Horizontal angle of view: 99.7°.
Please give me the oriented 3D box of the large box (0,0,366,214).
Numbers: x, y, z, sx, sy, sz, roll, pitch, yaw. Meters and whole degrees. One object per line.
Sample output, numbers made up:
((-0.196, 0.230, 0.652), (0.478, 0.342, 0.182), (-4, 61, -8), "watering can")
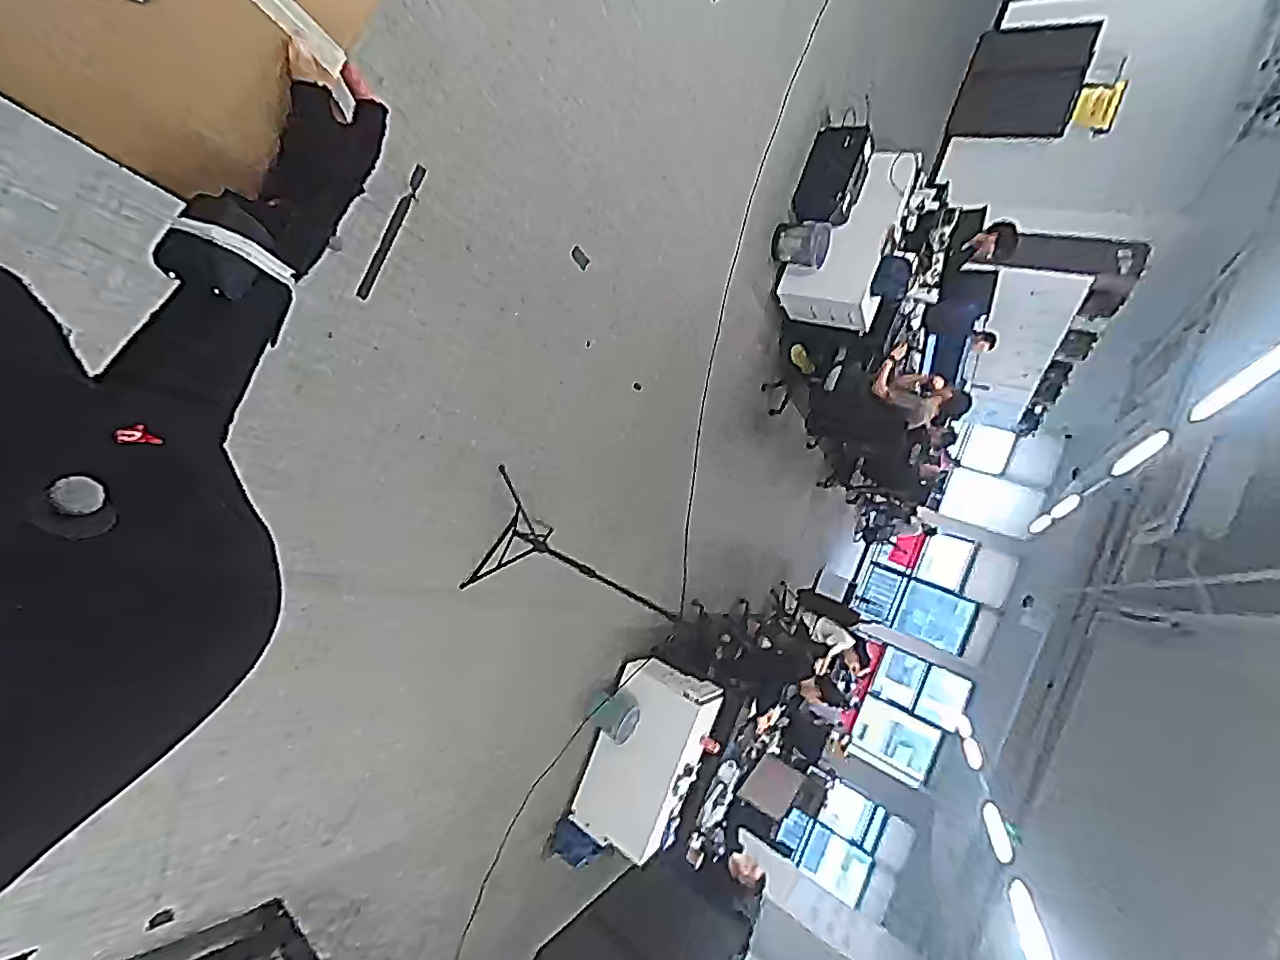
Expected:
((-0.453, -0.461, 0.346), (0.320, 0.320, 0.408), (-58, 151, 2), "large box")
